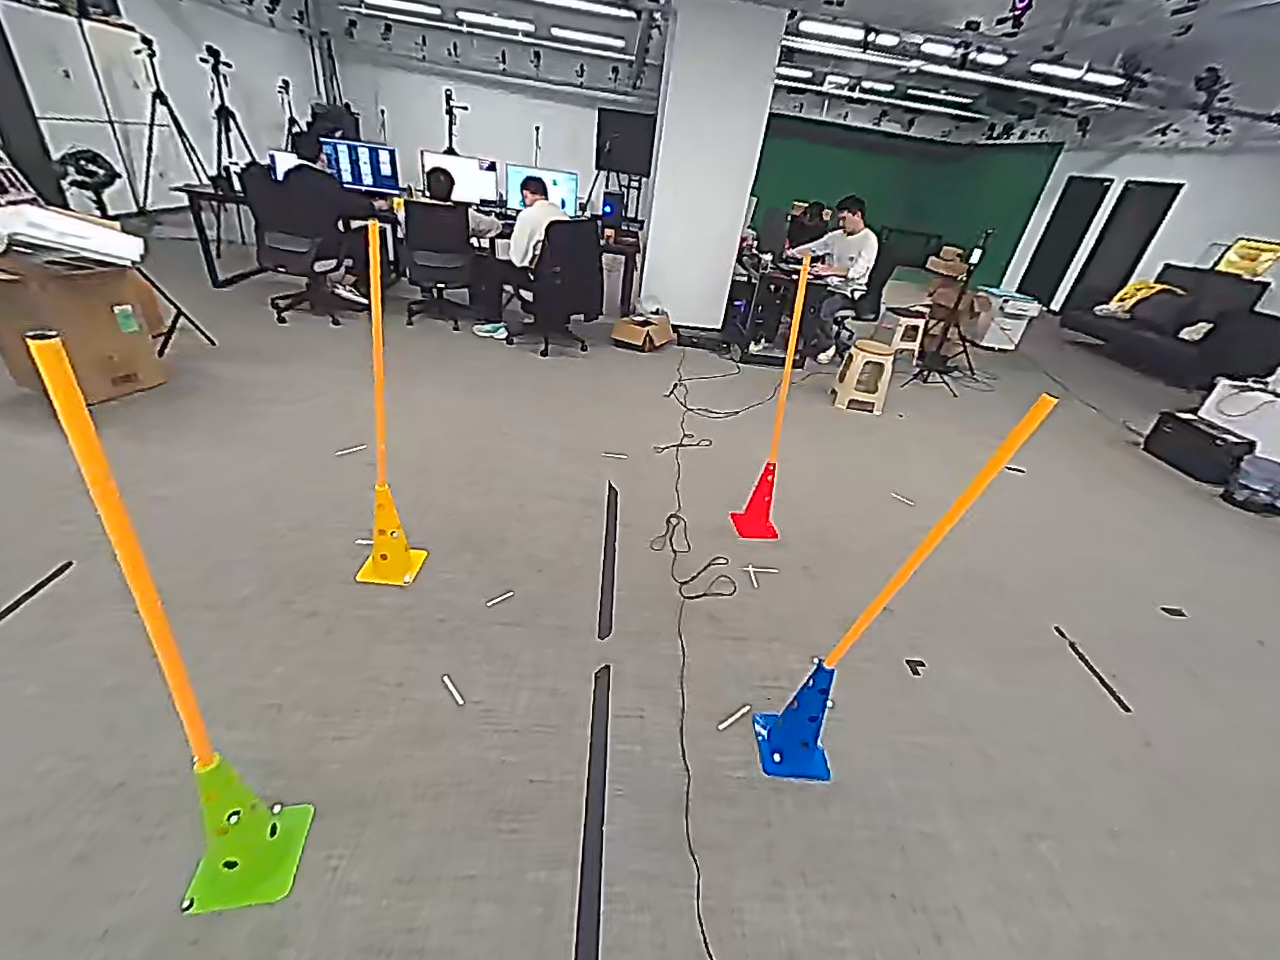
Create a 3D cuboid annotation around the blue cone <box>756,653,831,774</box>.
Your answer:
[{"bbox_3d":[0.469,0.637,1.523,0.193,0.380,0.192,7,30,-2],"label":"blue cone"}]

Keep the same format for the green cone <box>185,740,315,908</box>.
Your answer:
[{"bbox_3d":[-0.834,0.674,1.117,0.200,0.368,0.202,0,30,-14],"label":"green cone"}]

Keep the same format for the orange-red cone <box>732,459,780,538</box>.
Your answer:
[{"bbox_3d":[0.568,0.066,2.471,0.199,0.360,0.198,2,31,-8],"label":"orange-red cone"}]
